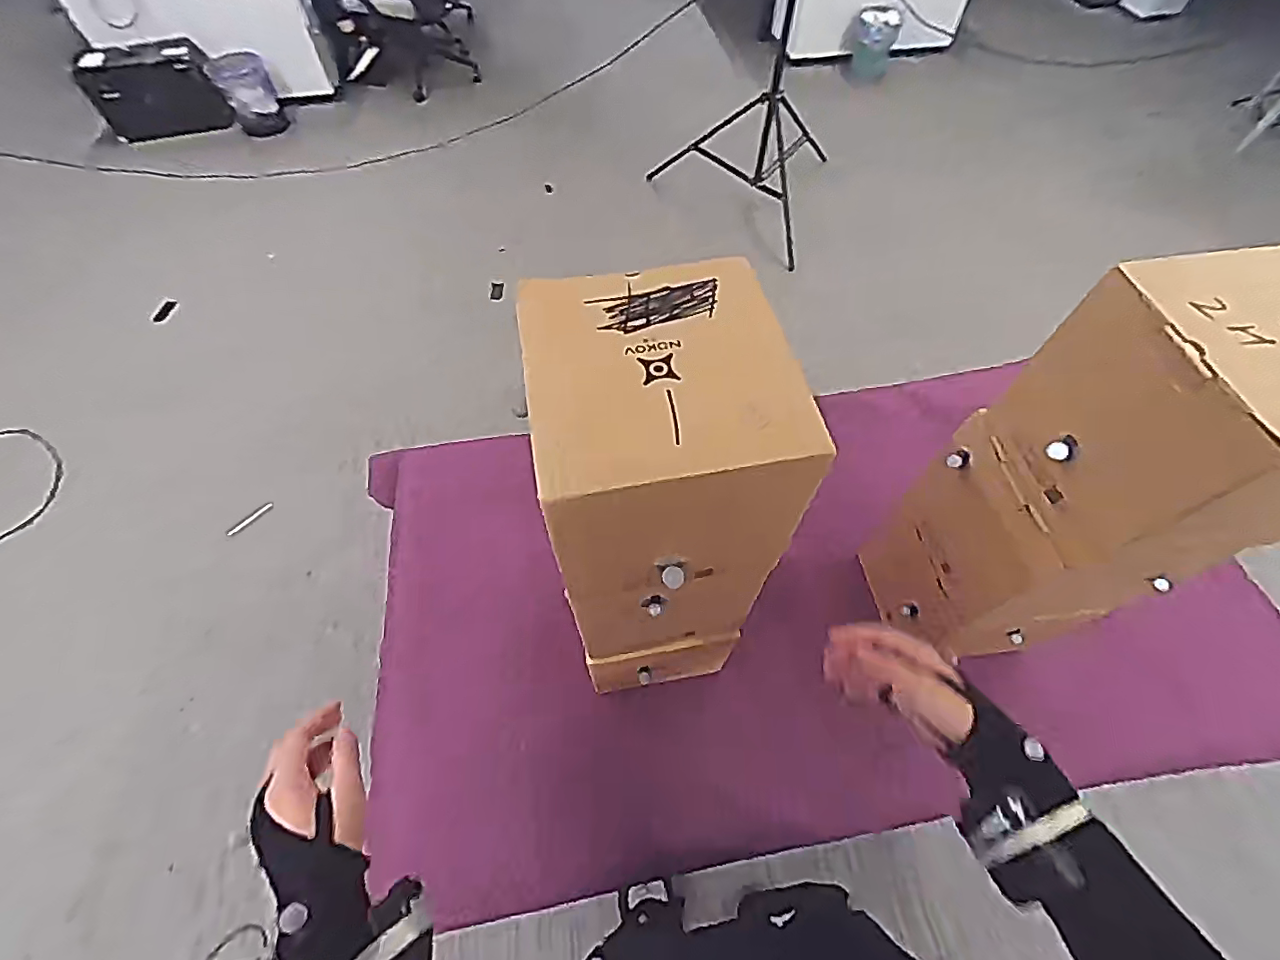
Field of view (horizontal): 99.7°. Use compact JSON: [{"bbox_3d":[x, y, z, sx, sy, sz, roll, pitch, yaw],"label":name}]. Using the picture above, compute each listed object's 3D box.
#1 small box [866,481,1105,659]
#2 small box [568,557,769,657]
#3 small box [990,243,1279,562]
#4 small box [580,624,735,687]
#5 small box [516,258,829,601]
[{"bbox_3d":[0.412,0.120,0.691,0.179,0.176,0.168,-6,59,-4],"label":"small box"},{"bbox_3d":[0.009,0.055,0.540,0.168,0.176,0.179,-11,57,-6],"label":"small box"},{"bbox_3d":[0.421,-0.052,0.409,0.179,0.176,0.168,-7,58,-4],"label":"small box"},{"bbox_3d":[0.010,0.149,0.675,0.168,0.176,0.179,-9,58,-5],"label":"small box"},{"bbox_3d":[0.009,-0.032,0.400,0.168,0.176,0.179,-10,59,-6],"label":"small box"}]
